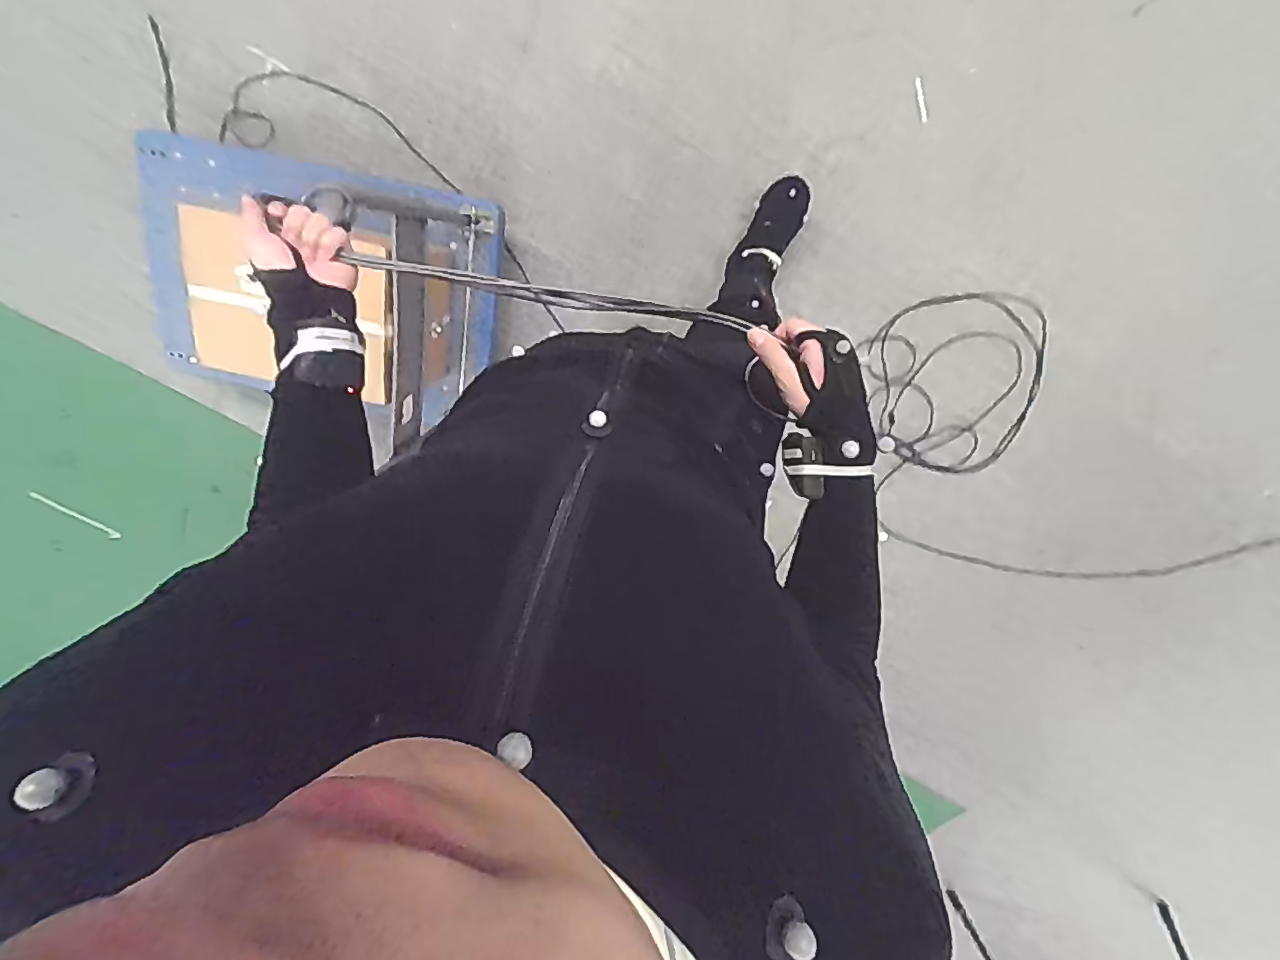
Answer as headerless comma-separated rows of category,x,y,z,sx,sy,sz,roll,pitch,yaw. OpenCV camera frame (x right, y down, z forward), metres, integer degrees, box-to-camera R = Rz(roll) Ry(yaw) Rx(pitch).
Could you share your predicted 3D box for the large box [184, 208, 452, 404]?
large box,-0.674,-0.390,1.203,0.408,0.320,0.320,13,112,1
